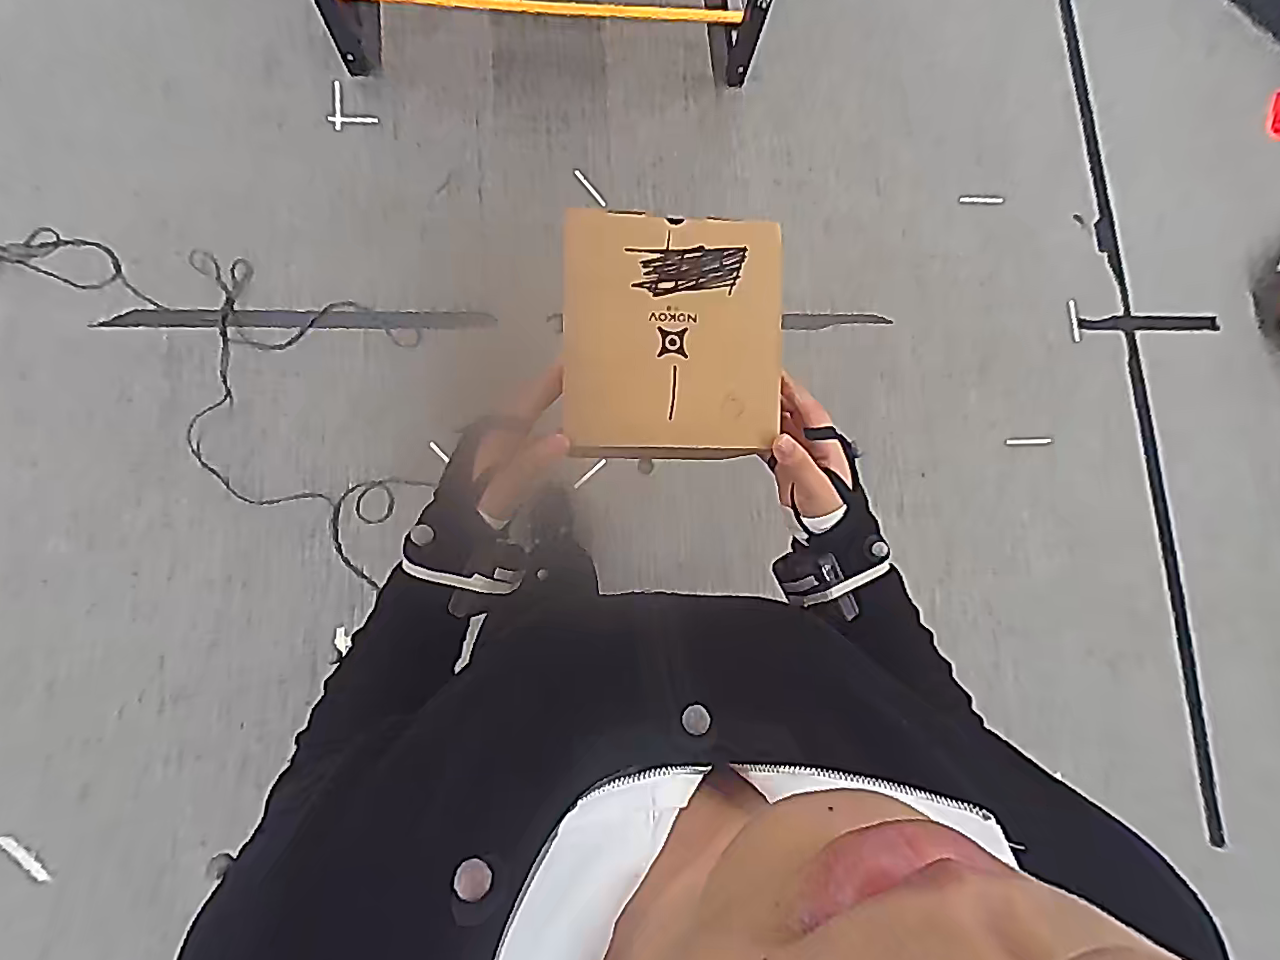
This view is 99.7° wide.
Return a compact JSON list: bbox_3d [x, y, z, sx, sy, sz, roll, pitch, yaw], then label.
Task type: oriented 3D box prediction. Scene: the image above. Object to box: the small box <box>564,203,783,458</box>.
[{"bbox_3d":[0.018,-0.114,0.481,0.168,0.176,0.179,0,89,-6],"label":"small box"}]
